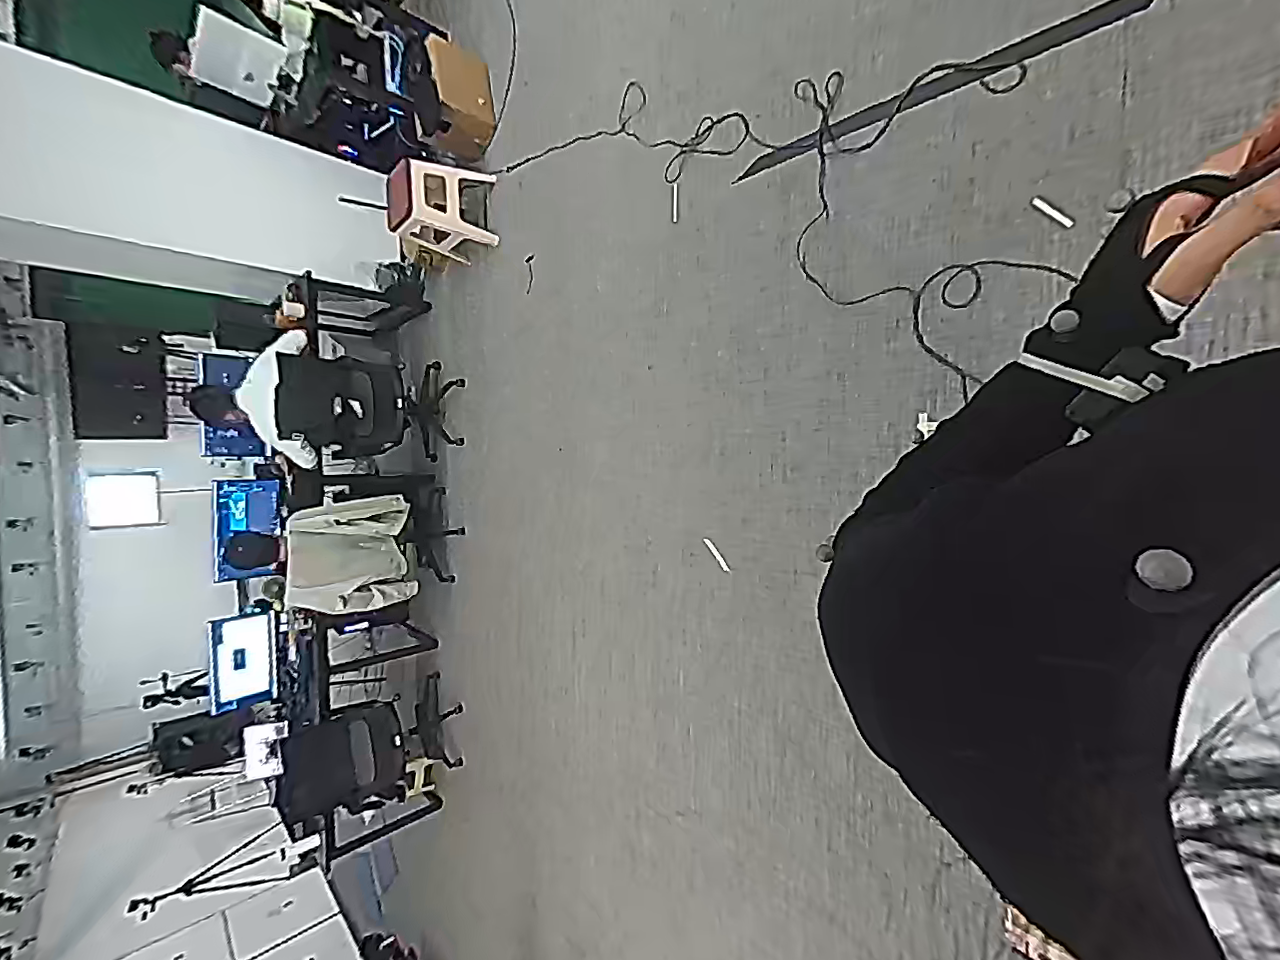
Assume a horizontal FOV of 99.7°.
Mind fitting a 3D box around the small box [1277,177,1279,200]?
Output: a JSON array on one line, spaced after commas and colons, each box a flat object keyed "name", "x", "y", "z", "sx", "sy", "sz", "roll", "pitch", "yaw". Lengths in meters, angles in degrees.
[{"name": "small box", "x": 0.470, "y": -0.243, "z": 0.268, "sx": 0.168, "sy": 0.176, "sz": 0.179, "roll": 17, "pitch": 112, "yaw": 42}]
